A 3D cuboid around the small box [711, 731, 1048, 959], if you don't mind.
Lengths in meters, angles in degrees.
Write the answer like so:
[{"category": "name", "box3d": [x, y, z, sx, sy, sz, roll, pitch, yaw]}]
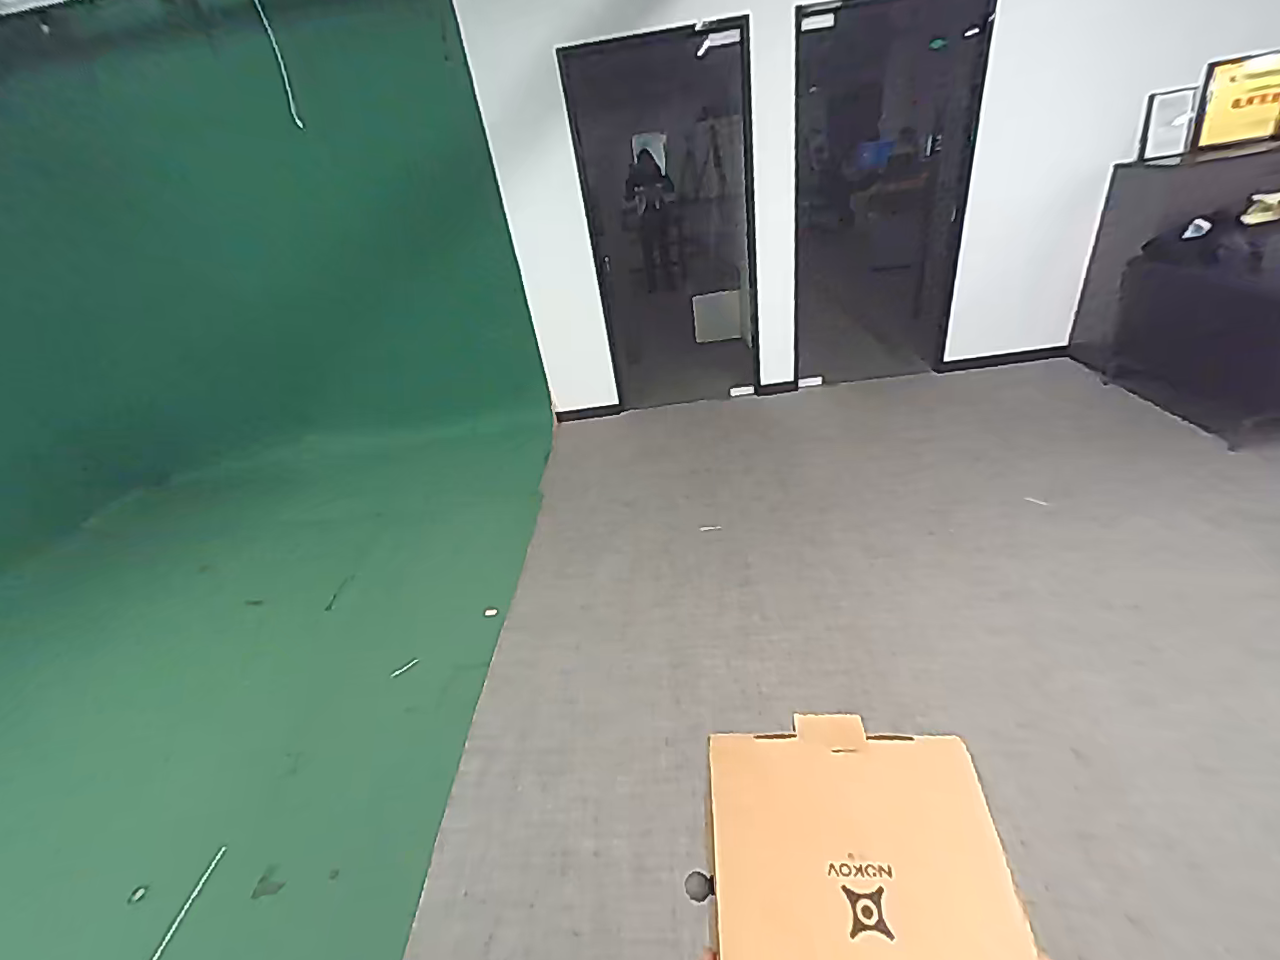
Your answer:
[{"category": "small box", "box3d": [0.134, 0.284, 0.355, 0.168, 0.176, 0.179, -2, 46, 4]}]
